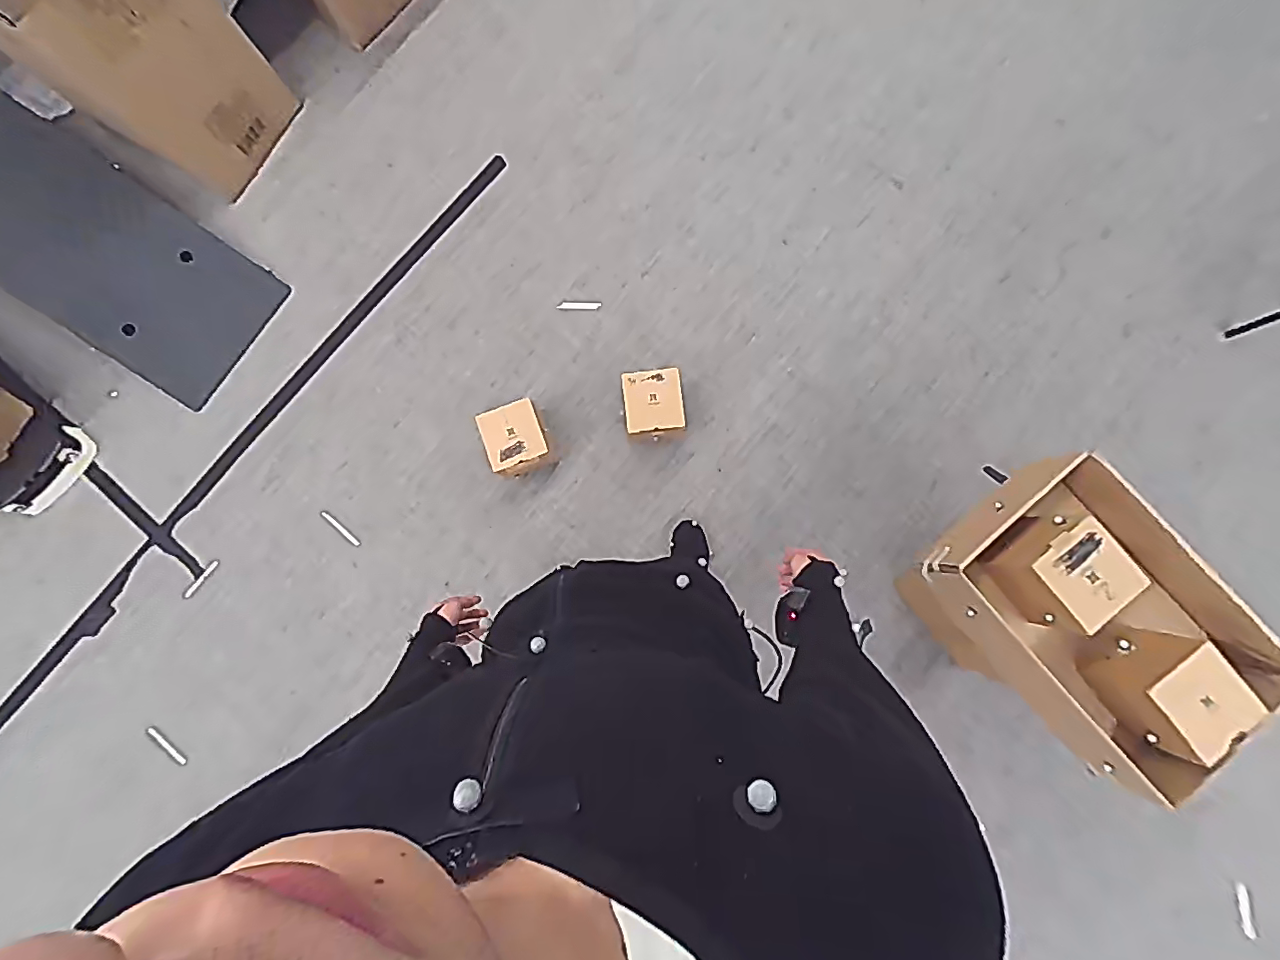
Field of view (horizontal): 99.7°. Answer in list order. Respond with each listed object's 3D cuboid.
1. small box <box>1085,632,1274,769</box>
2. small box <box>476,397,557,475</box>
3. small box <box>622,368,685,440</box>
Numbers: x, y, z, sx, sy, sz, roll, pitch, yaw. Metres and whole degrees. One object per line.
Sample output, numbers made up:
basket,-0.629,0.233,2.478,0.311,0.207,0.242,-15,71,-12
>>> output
small box,1.080,0.434,1.100,0.168,0.176,0.179,-36,84,-4
small box,-0.356,-0.120,1.591,0.168,0.176,0.179,-20,84,-2
small box,0.038,-0.217,1.597,0.168,0.176,0.179,-6,86,-1
